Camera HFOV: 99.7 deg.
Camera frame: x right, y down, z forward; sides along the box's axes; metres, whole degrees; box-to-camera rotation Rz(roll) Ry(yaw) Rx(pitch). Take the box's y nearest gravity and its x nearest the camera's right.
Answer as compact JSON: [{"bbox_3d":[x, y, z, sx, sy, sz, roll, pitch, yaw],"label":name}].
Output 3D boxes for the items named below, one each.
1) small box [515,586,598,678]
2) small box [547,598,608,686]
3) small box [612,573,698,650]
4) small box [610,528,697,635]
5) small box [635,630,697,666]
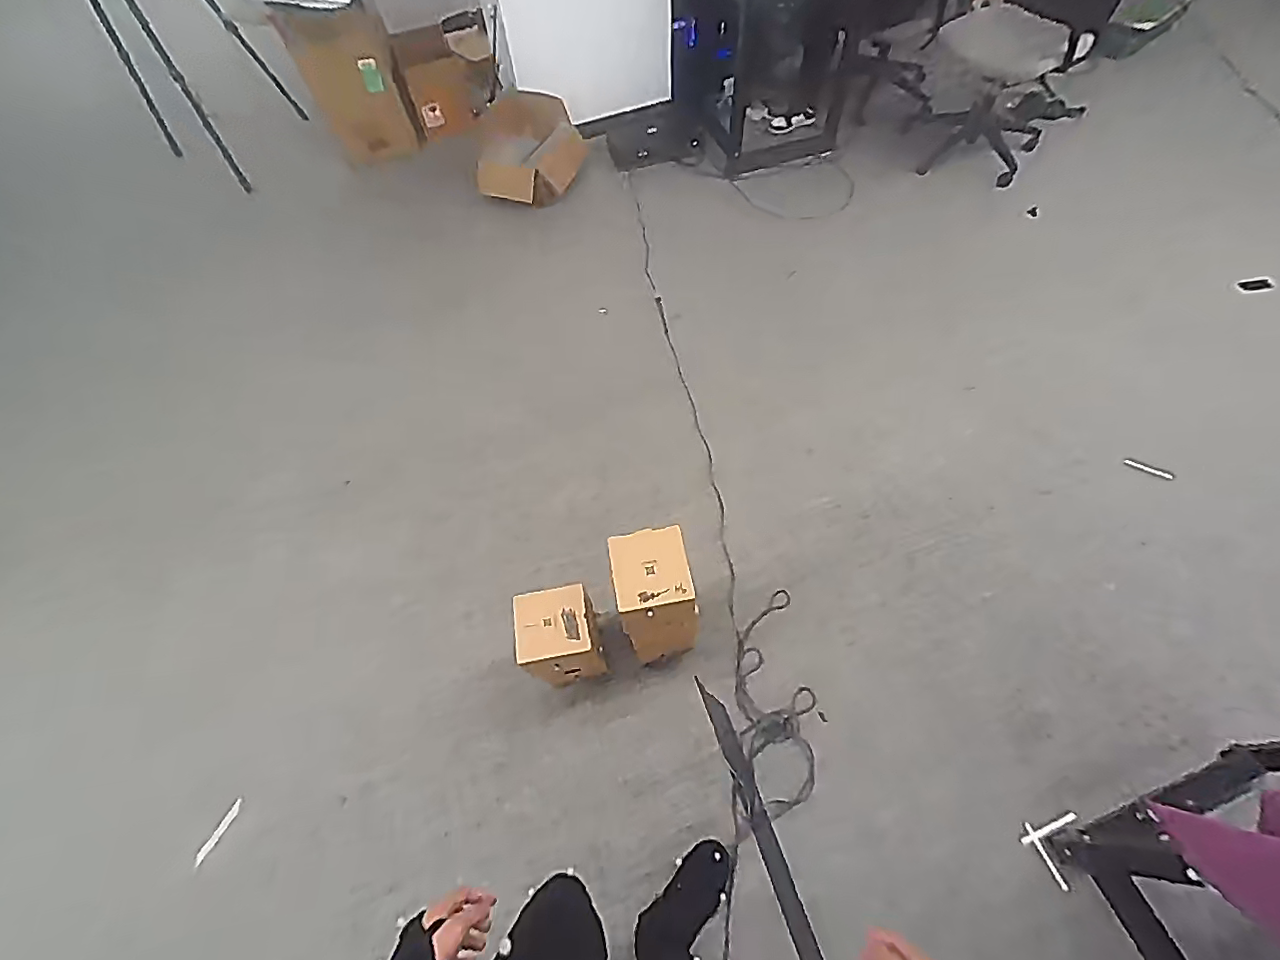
[{"bbox_3d":[-0.202,0.380,1.343,0.179,0.176,0.168,-10,59,-2],"label":"small box"},{"bbox_3d":[-0.190,0.450,1.492,0.168,0.176,0.179,-14,60,-3],"label":"small box"},{"bbox_3d":[0.041,0.314,1.371,0.179,0.176,0.168,-16,60,-5],"label":"small box"},{"bbox_3d":[0.029,0.233,1.229,0.168,0.176,0.179,-10,58,-2],"label":"small box"},{"bbox_3d":[0.050,0.396,1.510,0.168,0.176,0.179,-18,60,-6],"label":"small box"}]
